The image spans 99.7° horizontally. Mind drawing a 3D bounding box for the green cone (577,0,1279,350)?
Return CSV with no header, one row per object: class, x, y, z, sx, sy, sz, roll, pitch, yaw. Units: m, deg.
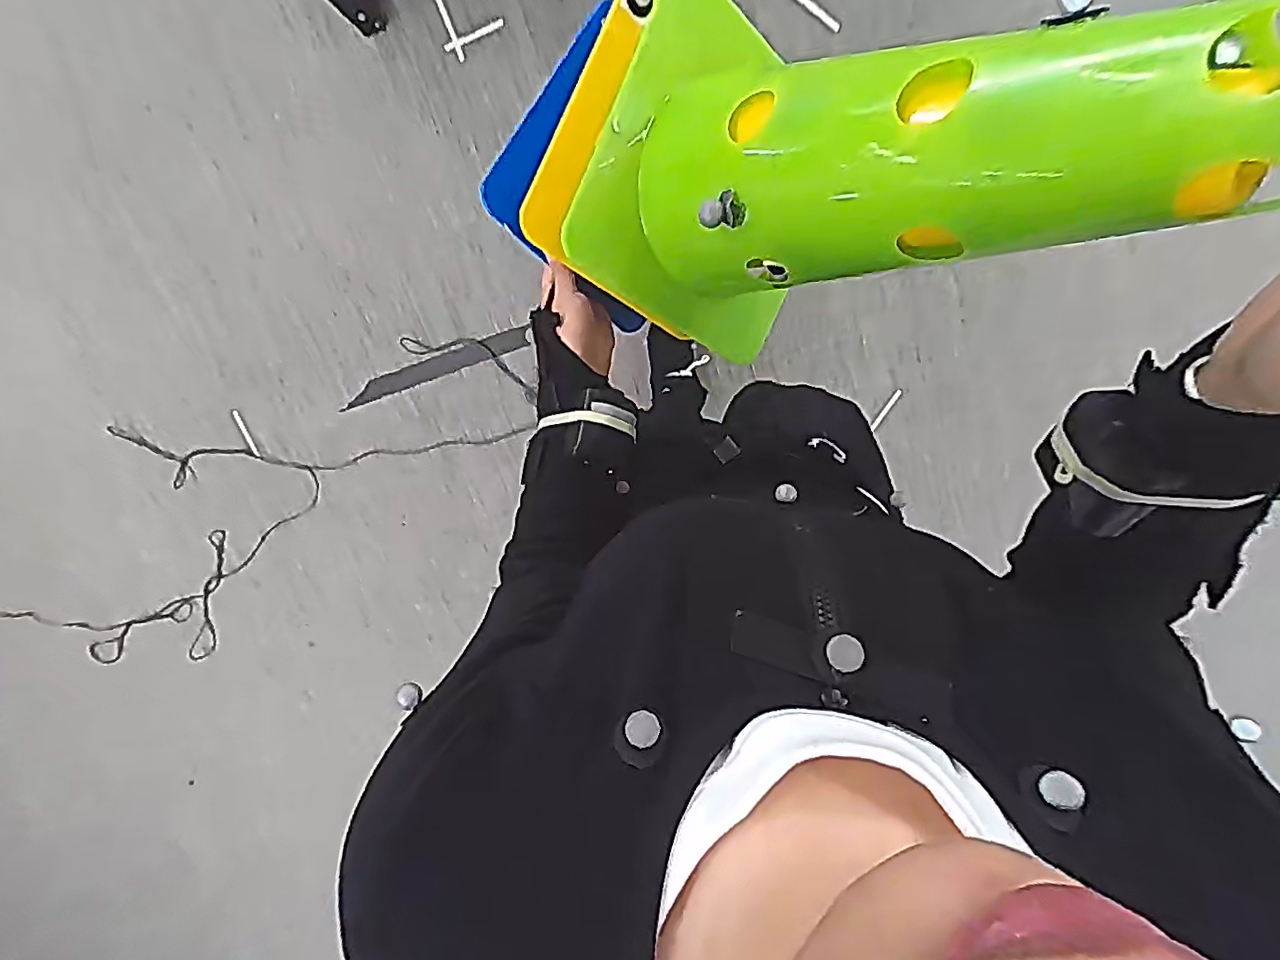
green cone,0.153,-0.158,0.248,0.200,0.368,0.202,19,99,-36
